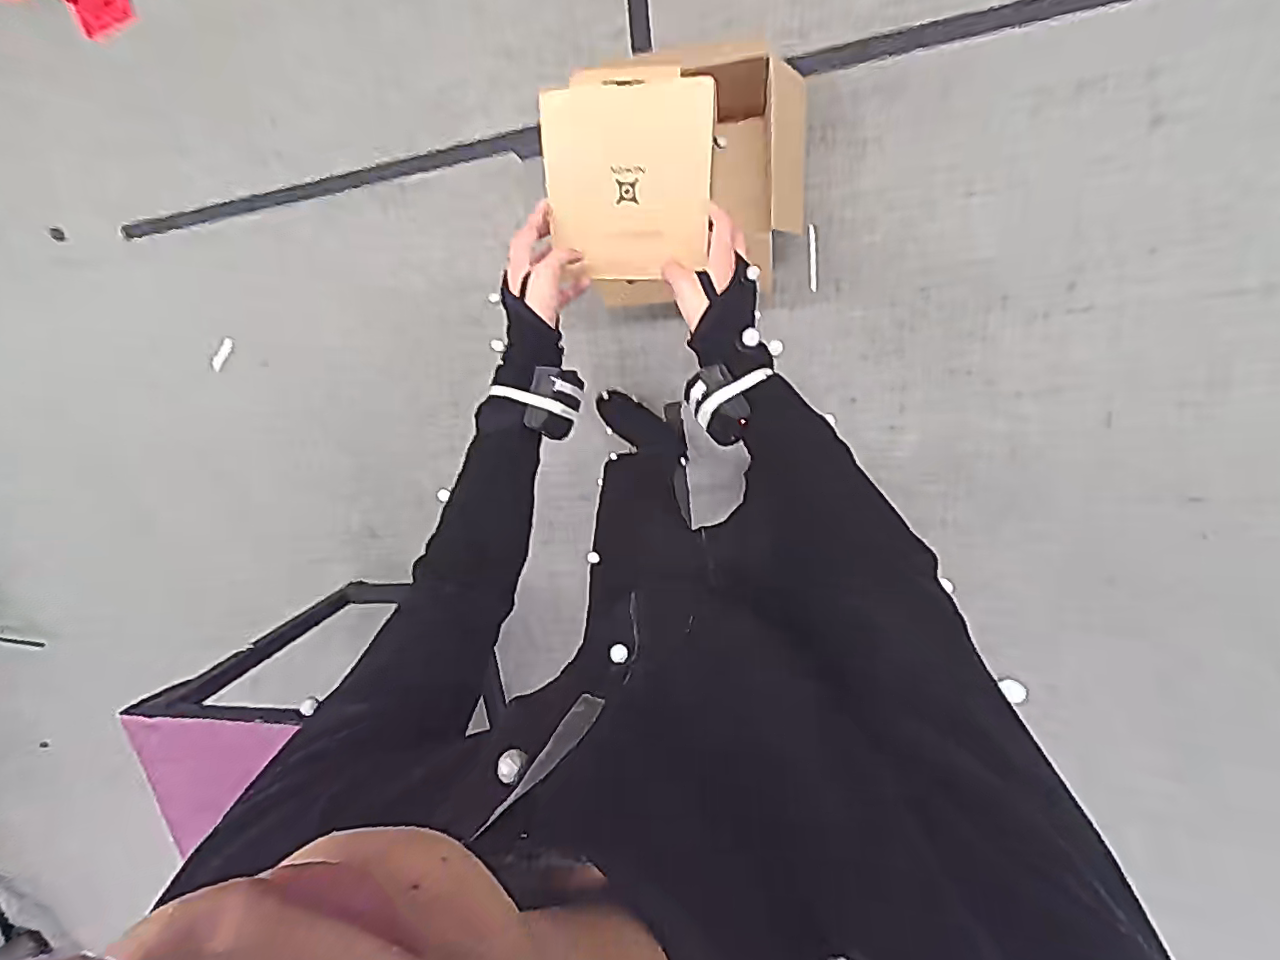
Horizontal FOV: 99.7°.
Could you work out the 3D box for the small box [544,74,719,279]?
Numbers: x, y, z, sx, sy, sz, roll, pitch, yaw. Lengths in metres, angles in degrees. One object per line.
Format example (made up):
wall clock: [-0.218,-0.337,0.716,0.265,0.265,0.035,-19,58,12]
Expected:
small box: [0.000,-0.325,0.603,0.168,0.176,0.179,3,117,8]

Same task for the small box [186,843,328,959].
small box: [-0.832,0.942,1.200,0.179,0.176,0.168,-13,102,16]

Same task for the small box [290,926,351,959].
small box: [-0.813,1.186,1.266,0.179,0.176,0.168,-8,104,14]
